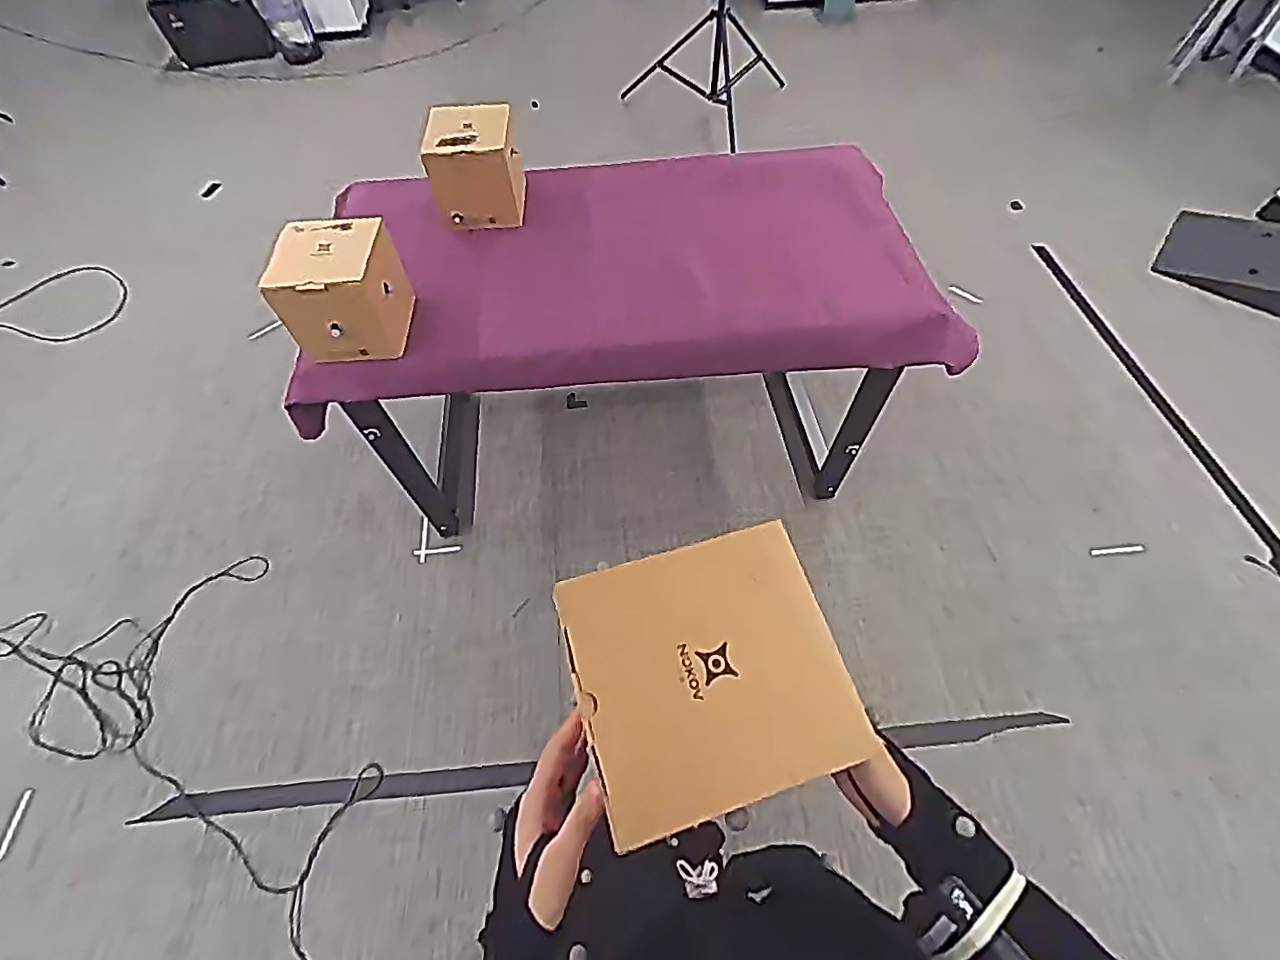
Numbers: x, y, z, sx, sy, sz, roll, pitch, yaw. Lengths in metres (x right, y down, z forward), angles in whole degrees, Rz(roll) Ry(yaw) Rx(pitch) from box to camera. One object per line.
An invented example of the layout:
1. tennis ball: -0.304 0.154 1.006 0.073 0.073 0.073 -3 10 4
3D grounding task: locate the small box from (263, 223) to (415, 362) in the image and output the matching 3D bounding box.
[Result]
1. small box: -0.519 -0.325 0.964 0.168 0.176 0.179 -4 58 -2

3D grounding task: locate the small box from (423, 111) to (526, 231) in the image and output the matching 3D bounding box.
1. small box: -0.346 -0.657 1.163 0.168 0.176 0.179 -3 59 -1

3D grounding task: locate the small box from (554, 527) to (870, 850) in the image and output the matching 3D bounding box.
1. small box: 0.040 0.158 0.433 0.179 0.176 0.168 -15 67 -8
